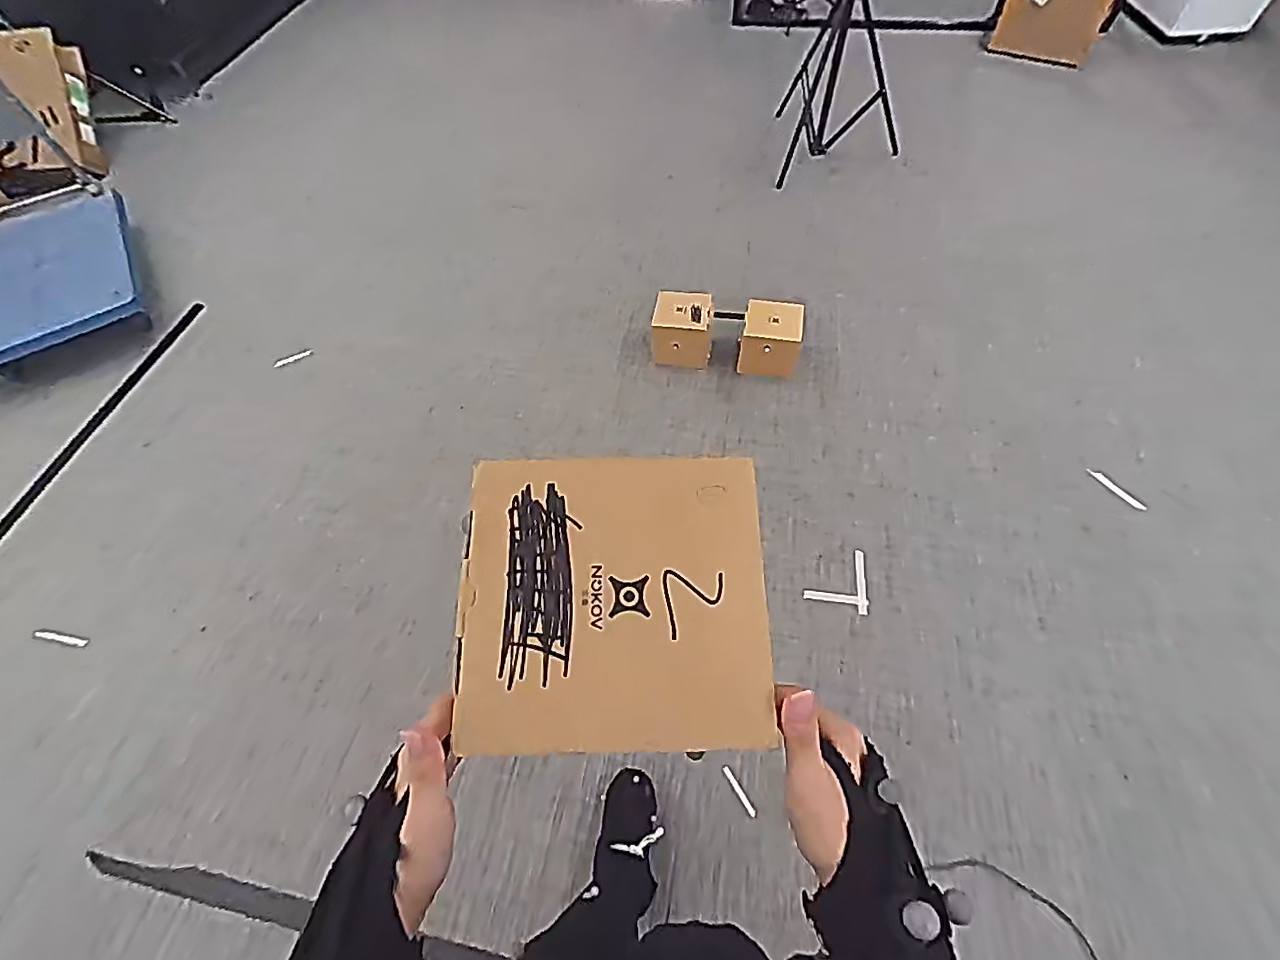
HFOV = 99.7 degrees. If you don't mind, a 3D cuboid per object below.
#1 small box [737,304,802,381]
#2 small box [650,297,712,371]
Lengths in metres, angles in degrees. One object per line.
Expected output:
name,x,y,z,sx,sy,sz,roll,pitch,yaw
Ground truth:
small box,0.415,-0.439,1.743,0.179,0.176,0.168,8,60,9
small box,0.136,-0.477,1.781,0.179,0.176,0.168,7,59,9
